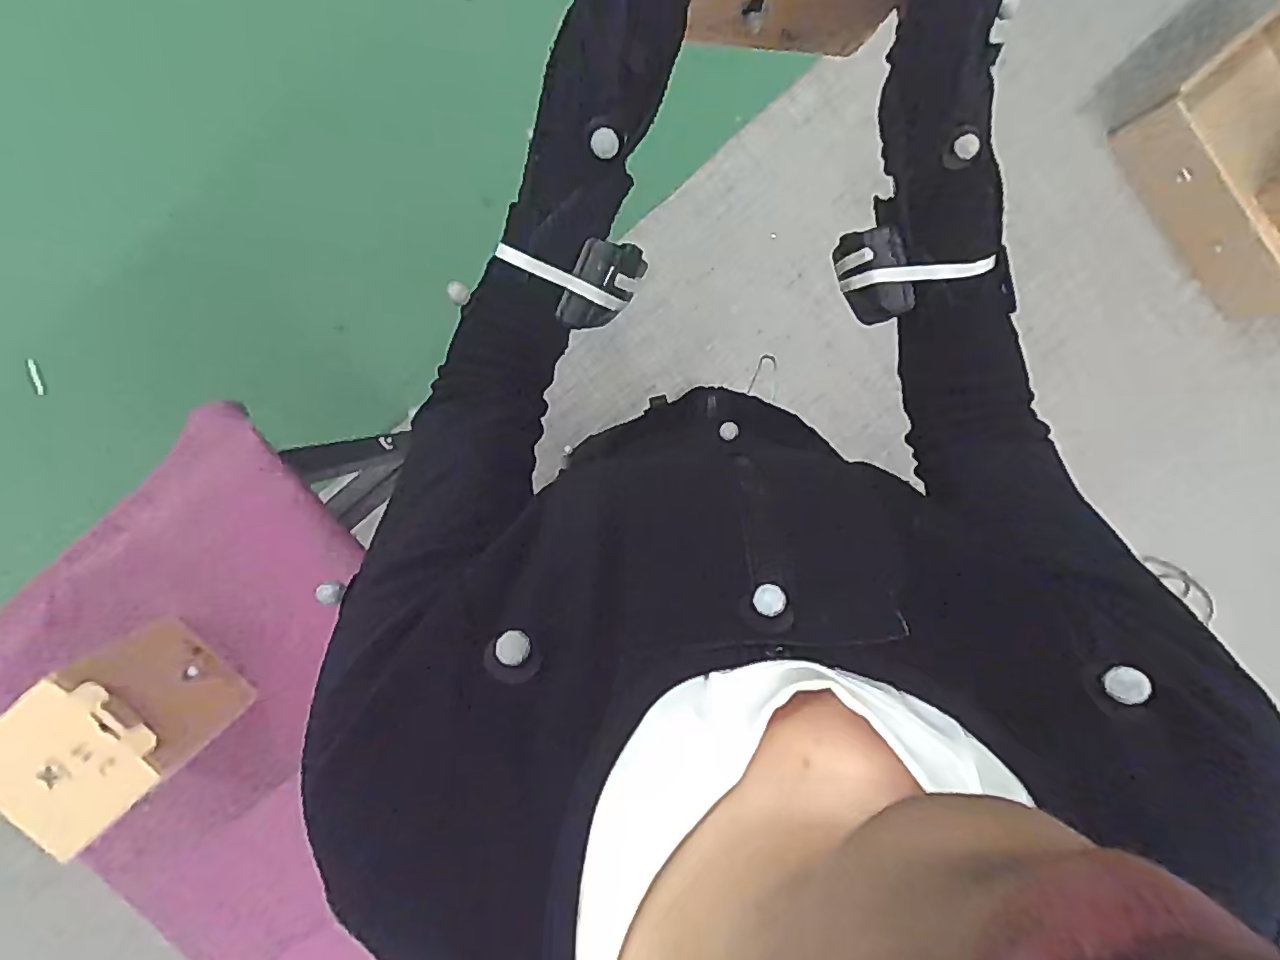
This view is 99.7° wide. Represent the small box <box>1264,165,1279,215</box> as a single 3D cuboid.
[{"bbox_3d":[1.652,-0.722,1.271,0.168,0.176,0.179,44,95,-5],"label":"small box"}]

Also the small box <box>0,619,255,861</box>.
[{"bbox_3d":[-0.650,0.313,0.684,0.179,0.176,0.168,-41,99,5],"label":"small box"}]

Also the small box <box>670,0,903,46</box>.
[{"bbox_3d":[0.110,-0.409,0.325,0.168,0.176,0.179,3,109,-5],"label":"small box"}]
